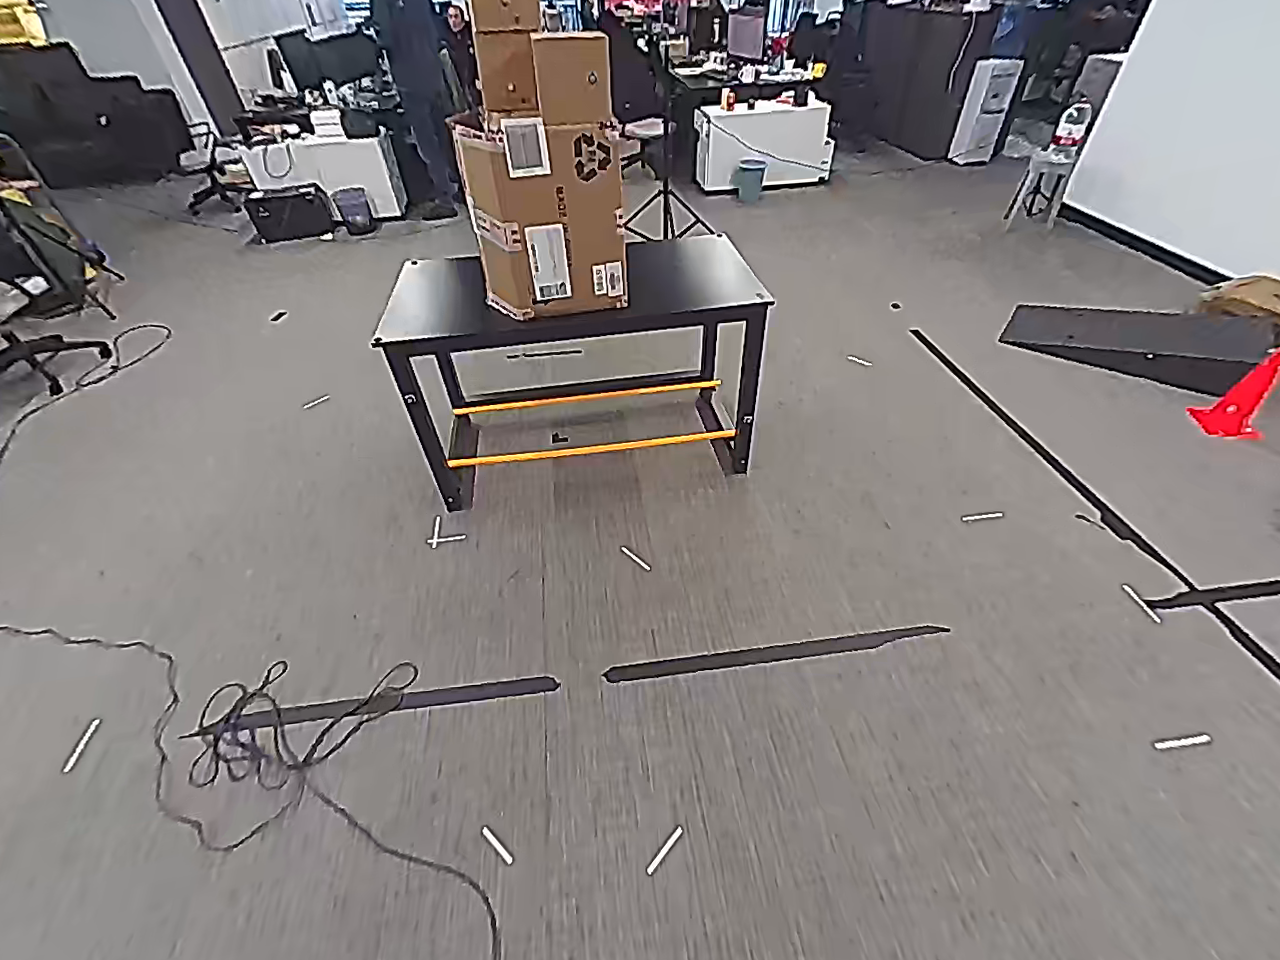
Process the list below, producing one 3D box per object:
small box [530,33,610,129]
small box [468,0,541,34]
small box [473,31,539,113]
[{"bbox_3d":[-0.170,-0.990,1.341,0.179,0.176,0.168,-9,43,-6],"label":"small box"},{"bbox_3d":[-0.350,-1.234,1.359,0.168,0.176,0.179,-12,42,-11],"label":"small box"},{"bbox_3d":[-0.356,-1.114,1.474,0.168,0.176,0.179,-10,43,-10],"label":"small box"}]
